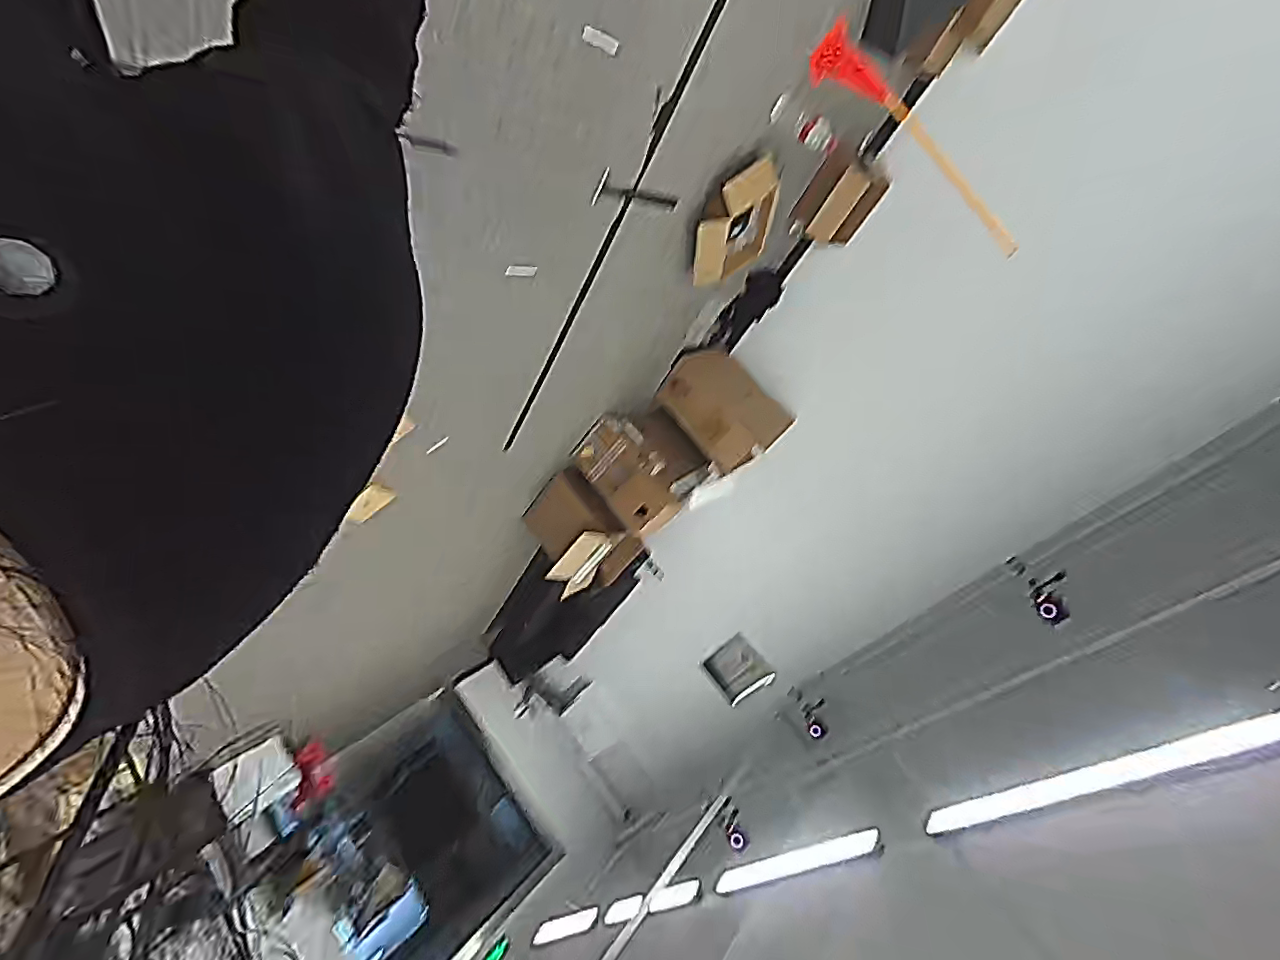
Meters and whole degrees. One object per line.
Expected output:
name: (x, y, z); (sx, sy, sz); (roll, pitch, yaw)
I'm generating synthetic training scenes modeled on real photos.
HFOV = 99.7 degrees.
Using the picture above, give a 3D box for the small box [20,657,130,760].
small box: (-1.525, 0.609, 1.465); (0.168, 0.176, 0.179); (-22, 155, -50)

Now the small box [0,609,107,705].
small box: (-1.624, 0.484, 1.502); (0.168, 0.176, 0.179); (-20, 155, -53)

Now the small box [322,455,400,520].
small box: (-1.074, 0.027, 2.079); (0.168, 0.176, 0.179); (-38, 165, -5)
